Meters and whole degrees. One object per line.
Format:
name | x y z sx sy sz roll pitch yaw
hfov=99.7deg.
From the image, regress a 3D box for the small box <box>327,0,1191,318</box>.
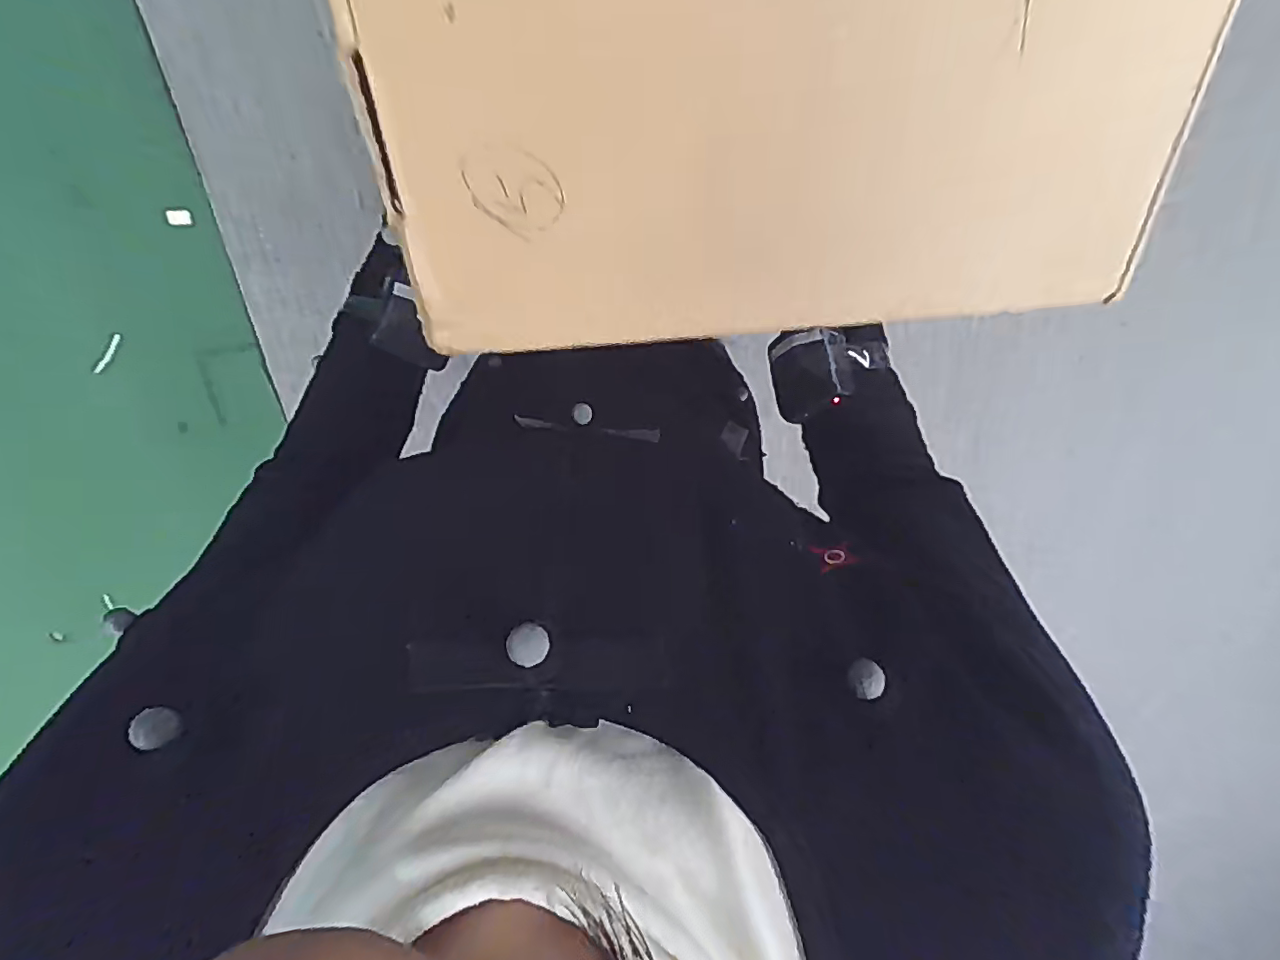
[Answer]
small box | 0.020 -0.157 0.162 0.179 0.176 0.168 -6 122 -2
